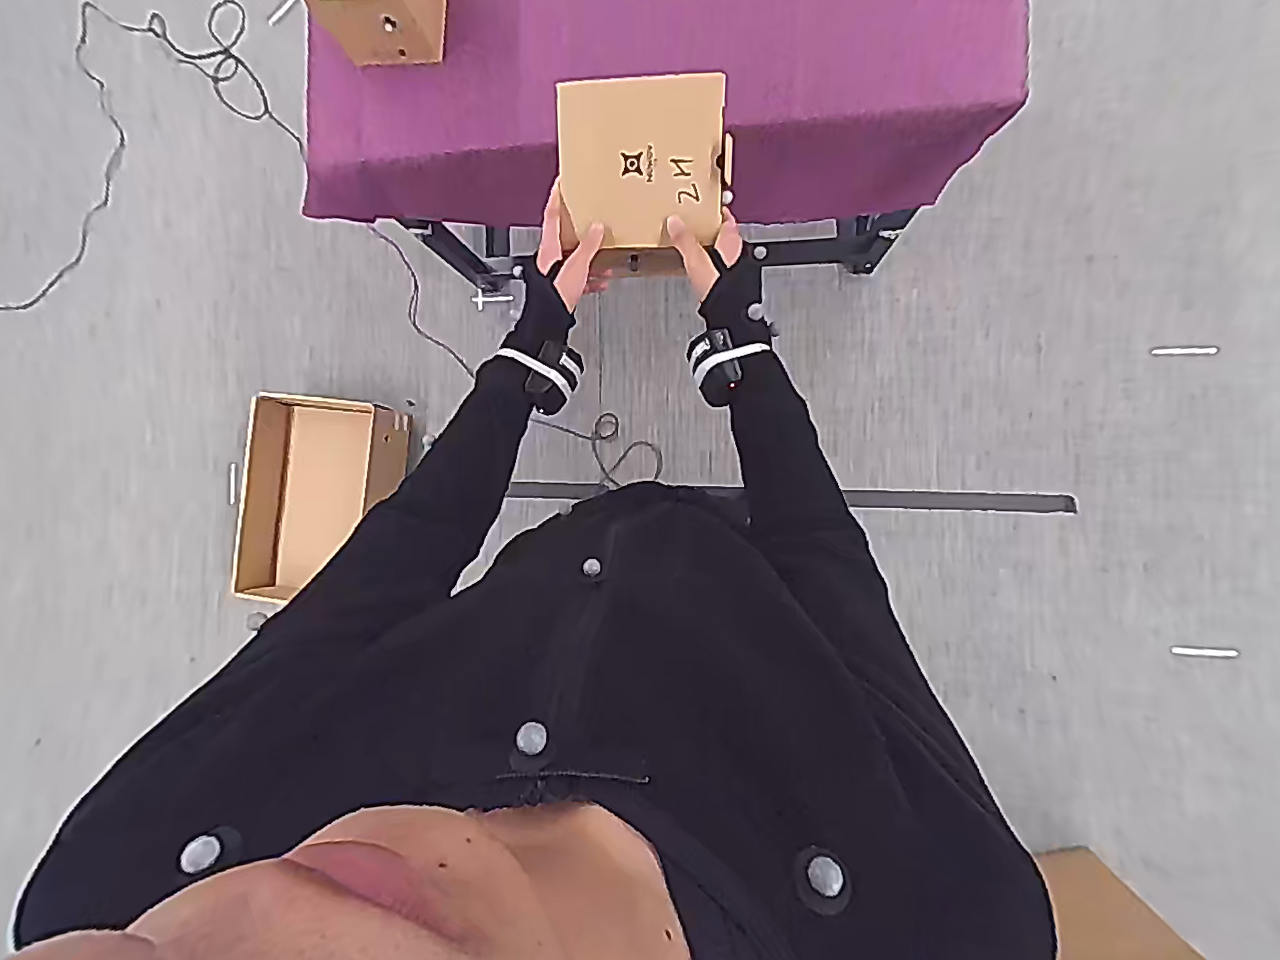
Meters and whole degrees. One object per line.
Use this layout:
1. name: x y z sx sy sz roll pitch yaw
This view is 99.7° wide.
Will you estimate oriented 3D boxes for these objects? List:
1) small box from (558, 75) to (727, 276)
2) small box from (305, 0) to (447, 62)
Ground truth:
1. small box: 0.008 -0.342 0.642 0.179 0.176 0.168 1 101 5
2. small box: -0.433 -0.831 0.889 0.168 0.176 0.179 5 89 7
